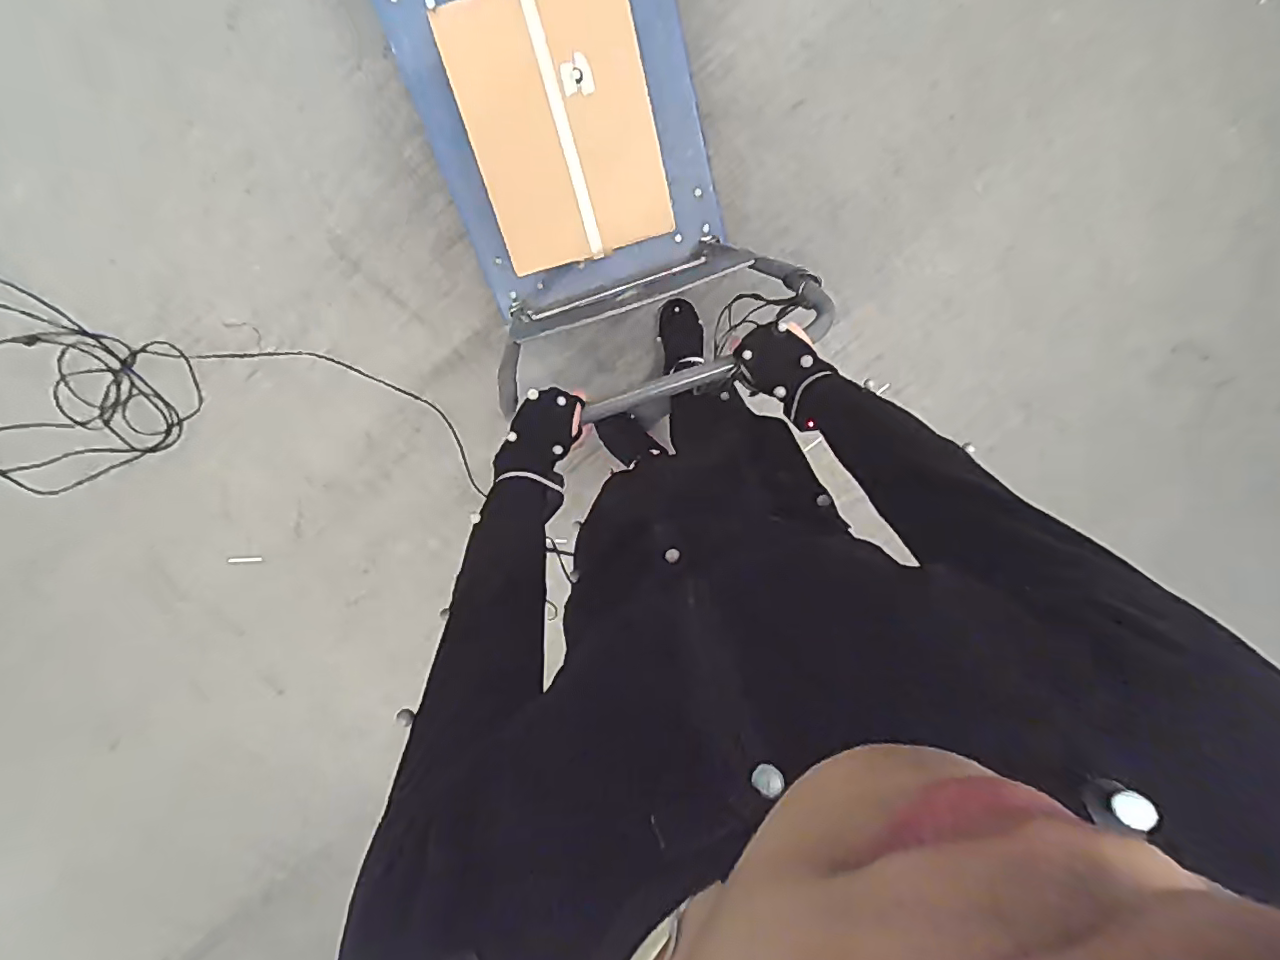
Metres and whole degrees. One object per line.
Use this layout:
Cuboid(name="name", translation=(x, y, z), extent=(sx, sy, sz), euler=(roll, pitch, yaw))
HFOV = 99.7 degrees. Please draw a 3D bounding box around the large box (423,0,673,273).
Cuboid(name="large box", translation=(-0.150, -0.652, 1.040), extent=(0.320, 0.320, 0.408), euler=(-16, 115, 0))
